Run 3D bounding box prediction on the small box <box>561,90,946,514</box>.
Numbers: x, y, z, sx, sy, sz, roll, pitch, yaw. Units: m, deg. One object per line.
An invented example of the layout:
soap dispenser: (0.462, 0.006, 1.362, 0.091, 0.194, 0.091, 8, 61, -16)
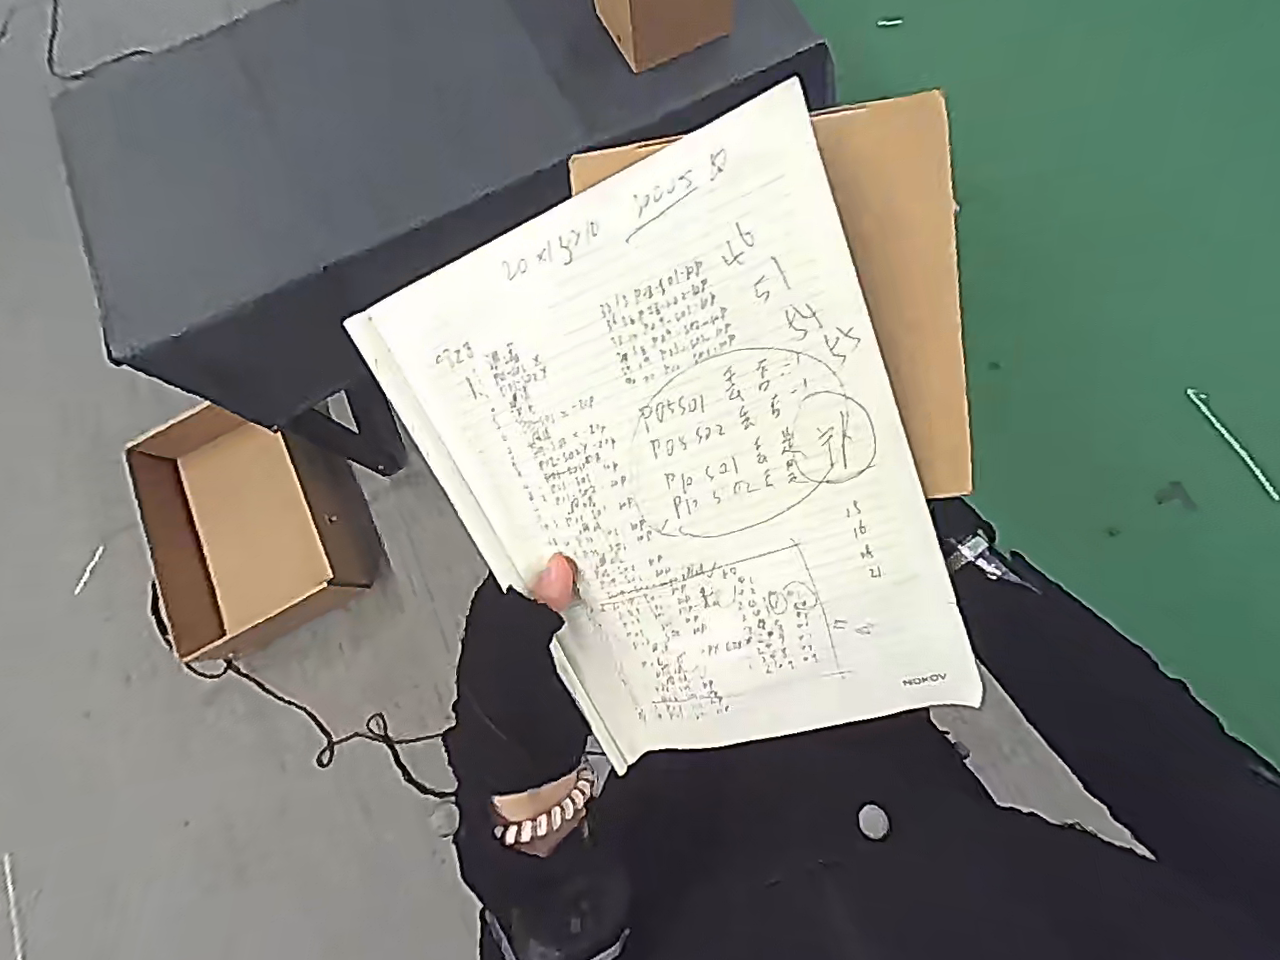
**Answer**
small box: (0.061, -0.079, 0.326, 0.168, 0.176, 0.179, -5, 91, 9)
